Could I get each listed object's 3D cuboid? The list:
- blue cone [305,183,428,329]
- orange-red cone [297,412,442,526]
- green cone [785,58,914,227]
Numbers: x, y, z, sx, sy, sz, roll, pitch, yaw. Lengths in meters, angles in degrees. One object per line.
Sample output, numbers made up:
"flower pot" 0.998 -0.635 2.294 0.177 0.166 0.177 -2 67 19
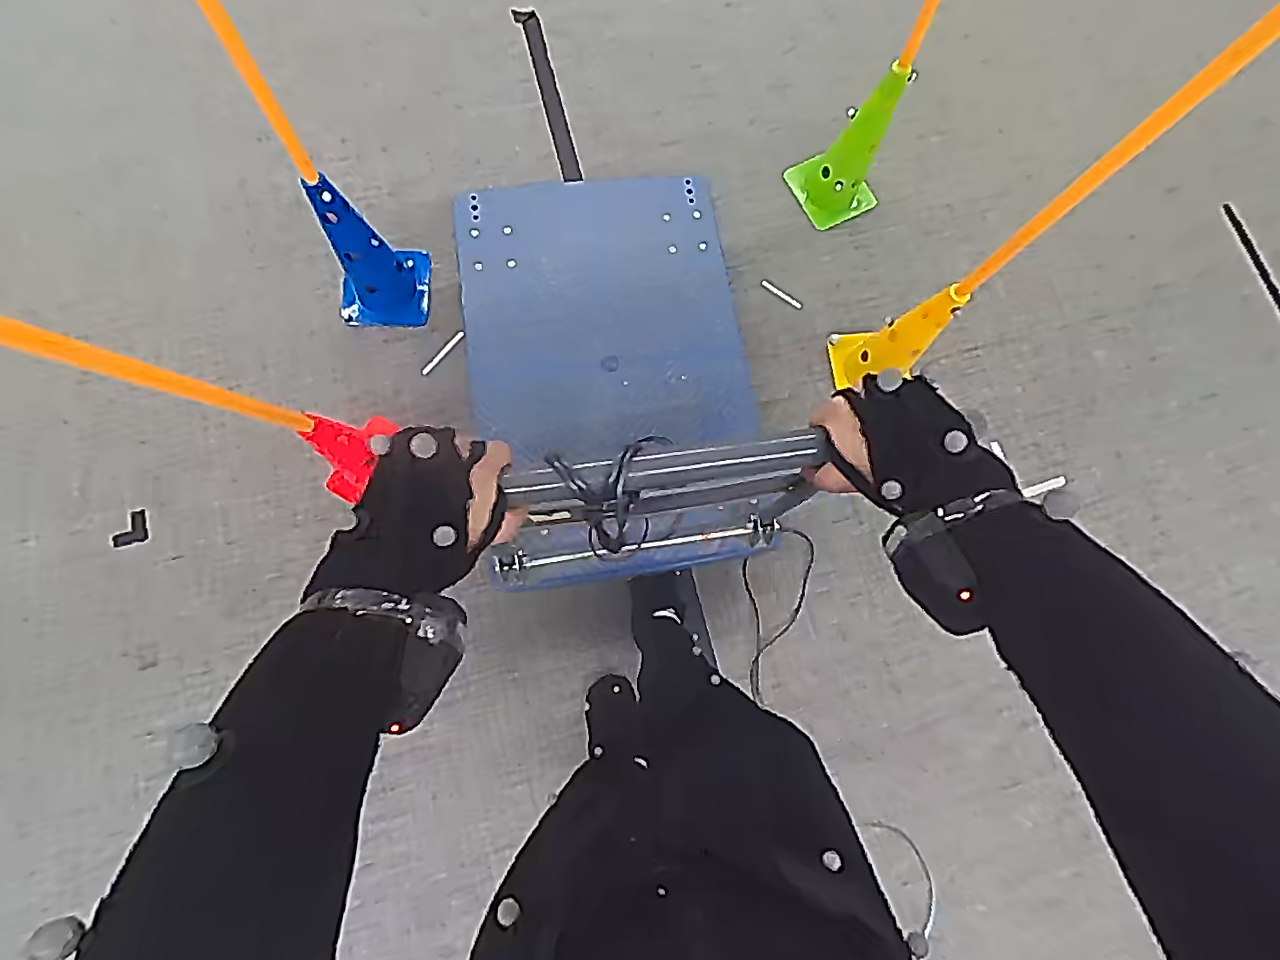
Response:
"blue cone" -0.596 -0.487 1.144 0.193 0.380 0.192 0 79 -5
"orange-red cone" -0.553 -0.057 1.041 0.198 0.360 0.199 30 76 1
"green cone" 0.527 -0.824 1.290 0.200 0.368 0.202 -28 83 -9
